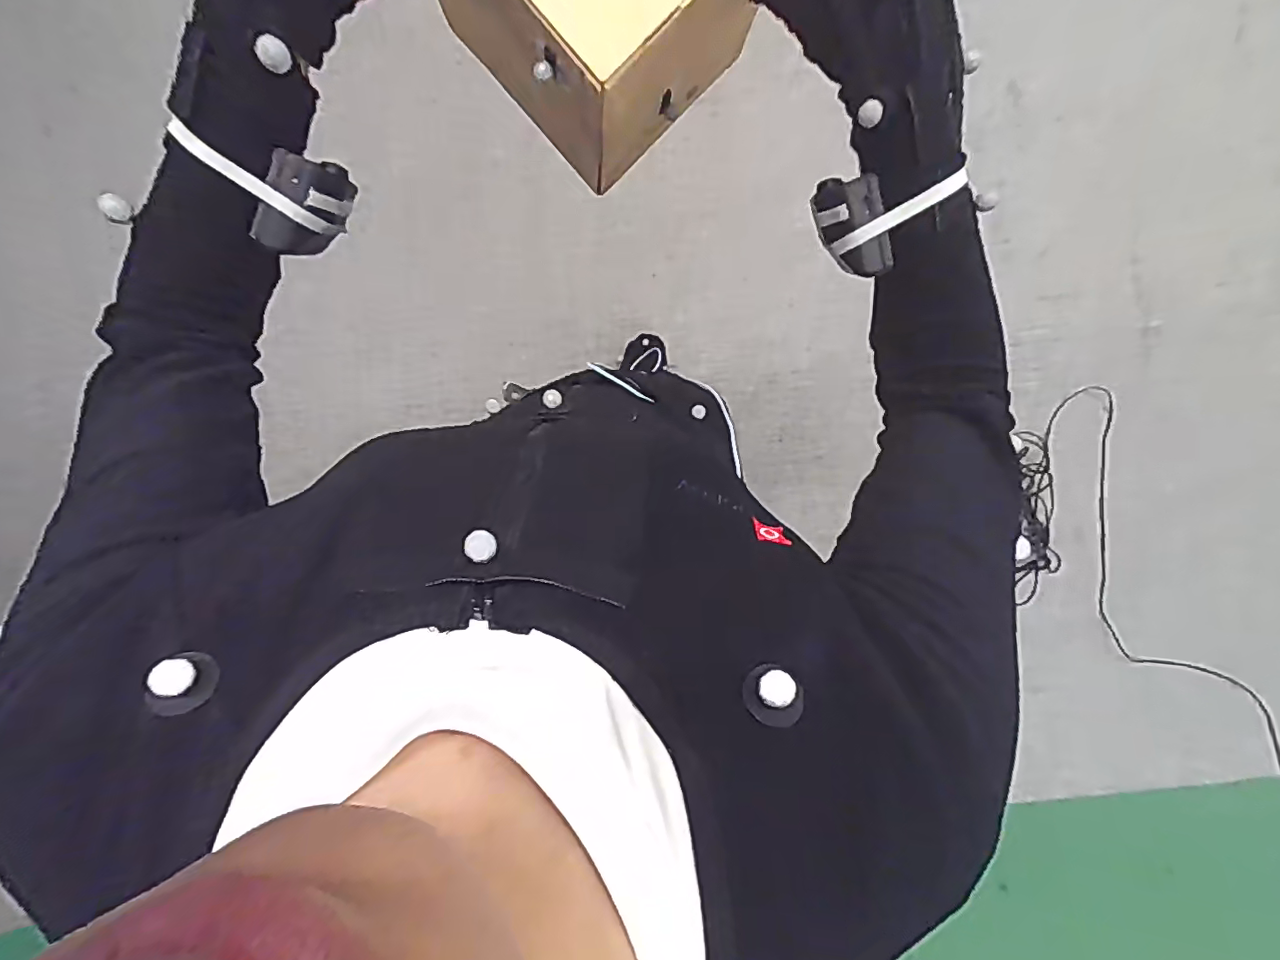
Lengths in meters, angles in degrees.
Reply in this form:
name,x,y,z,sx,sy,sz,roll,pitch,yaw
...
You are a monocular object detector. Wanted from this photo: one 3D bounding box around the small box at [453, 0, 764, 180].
name,x,y,z,sx,sy,sz,roll,pitch,yaw
small box,-0.025,-0.350,0.365,0.168,0.176,0.179,-44,102,2
